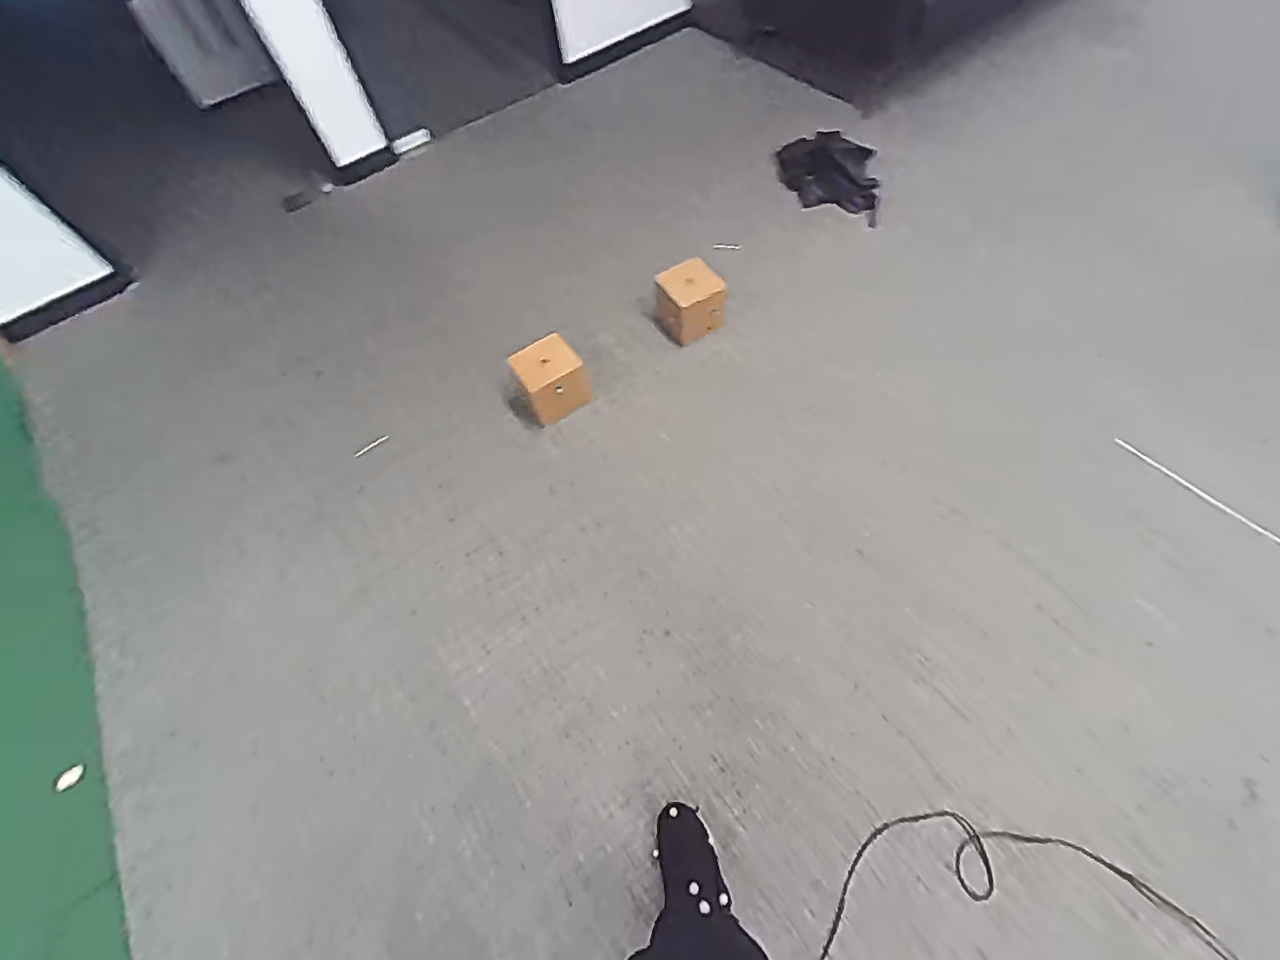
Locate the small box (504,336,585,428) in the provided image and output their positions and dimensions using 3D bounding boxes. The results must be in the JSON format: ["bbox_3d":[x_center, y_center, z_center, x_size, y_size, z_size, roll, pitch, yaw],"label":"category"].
[{"bbox_3d":[-0.280,-0.294,1.639,0.179,0.176,0.168,-33,62,-13],"label":"small box"}]

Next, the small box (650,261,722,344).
[{"bbox_3d":[0.151,-0.568,1.755,0.168,0.176,0.179,-29,60,-12],"label":"small box"}]
